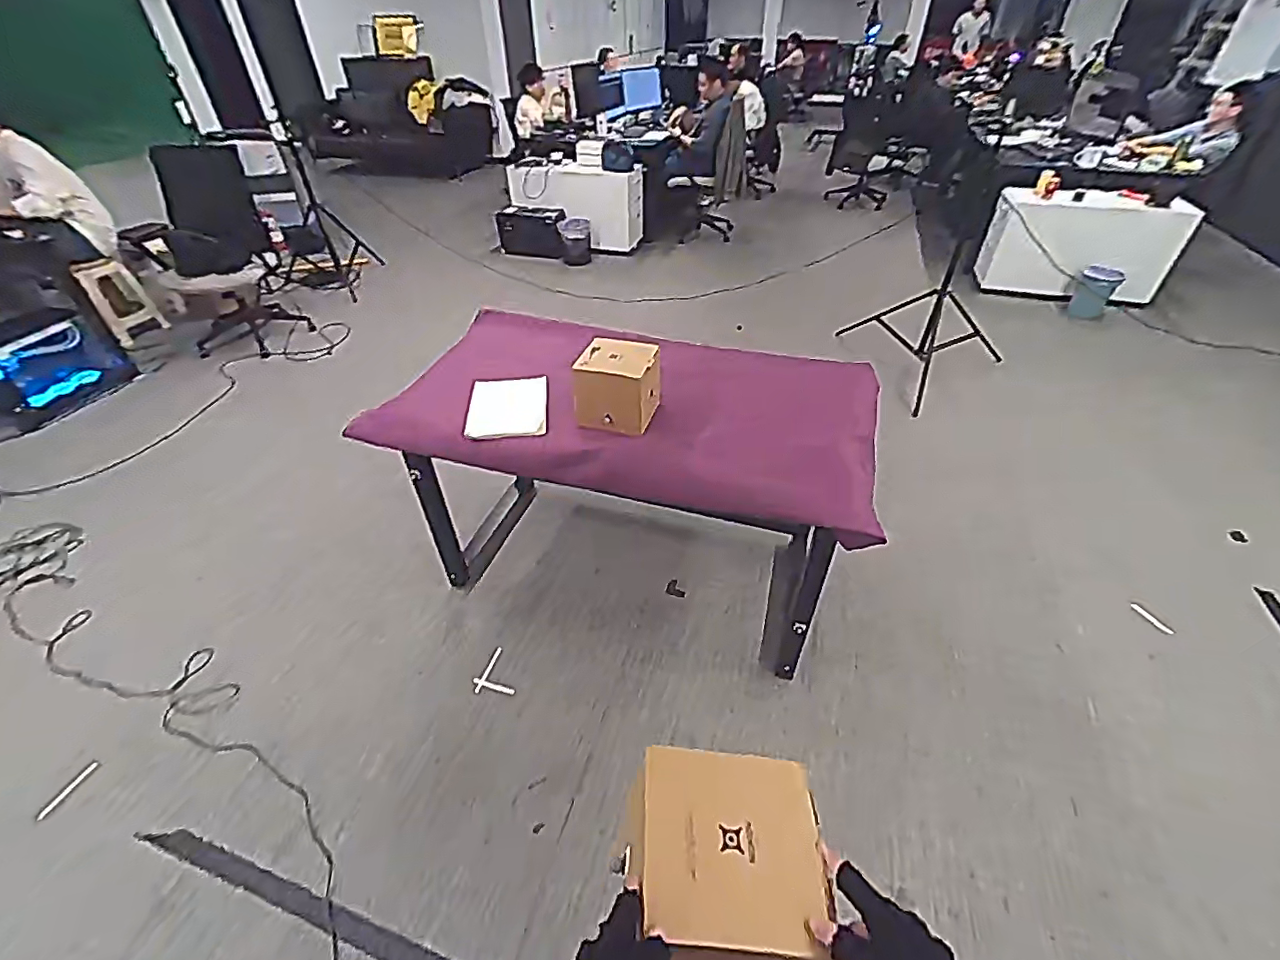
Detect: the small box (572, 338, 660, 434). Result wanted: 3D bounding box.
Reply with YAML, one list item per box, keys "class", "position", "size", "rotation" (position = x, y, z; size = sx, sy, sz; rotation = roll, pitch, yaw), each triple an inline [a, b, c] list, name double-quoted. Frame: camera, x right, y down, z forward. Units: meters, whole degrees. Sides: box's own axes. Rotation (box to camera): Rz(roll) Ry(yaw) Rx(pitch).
- class: "small box"
  position: [-0.056, -0.234, 1.364]
  size: [0.179, 0.176, 0.168]
  rotation: [11, 41, 13]

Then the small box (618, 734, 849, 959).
- class: "small box"
  position: [0.079, 0.389, 0.551]
  size: [0.179, 0.176, 0.168]
  rotation: [8, 35, -4]
